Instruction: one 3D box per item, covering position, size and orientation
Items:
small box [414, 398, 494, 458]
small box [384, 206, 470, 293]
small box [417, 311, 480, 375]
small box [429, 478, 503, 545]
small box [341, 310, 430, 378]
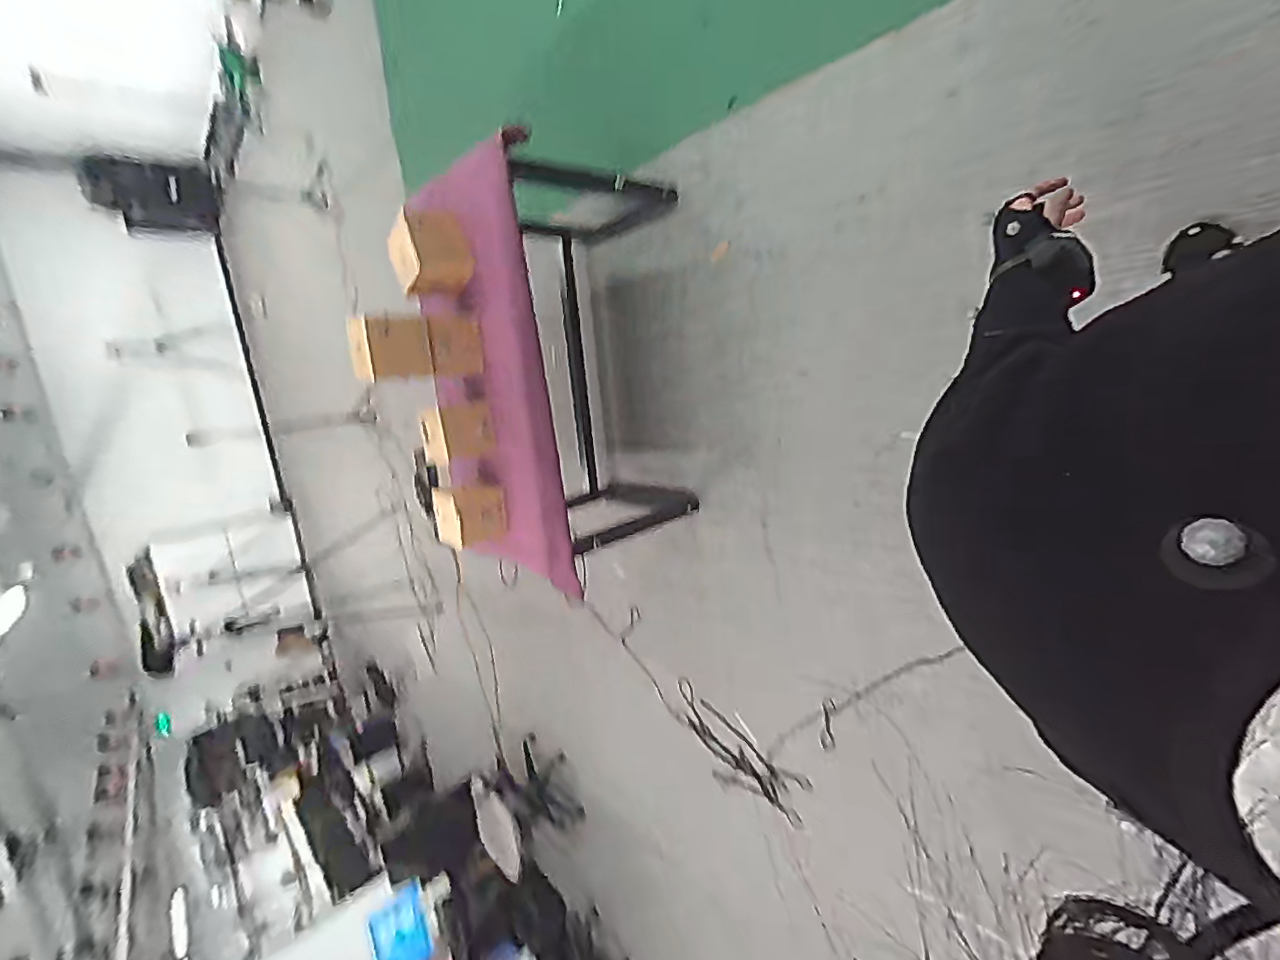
[{"bbox_3d":[-0.584,-0.164,1.701,0.179,0.176,0.168,2,104,47],"label":"small box"},{"bbox_3d":[-0.618,-0.666,1.574,0.168,0.176,0.179,-22,86,49],"label":"small box"},{"bbox_3d":[-0.601,-0.416,1.638,0.168,0.176,0.179,13,112,44],"label":"small box"},{"bbox_3d":[-0.560,0.097,1.760,0.179,0.176,0.168,10,109,45],"label":"small box"},{"bbox_3d":[-0.714,-0.384,1.523,0.168,0.176,0.179,13,113,45],"label":"small box"}]
